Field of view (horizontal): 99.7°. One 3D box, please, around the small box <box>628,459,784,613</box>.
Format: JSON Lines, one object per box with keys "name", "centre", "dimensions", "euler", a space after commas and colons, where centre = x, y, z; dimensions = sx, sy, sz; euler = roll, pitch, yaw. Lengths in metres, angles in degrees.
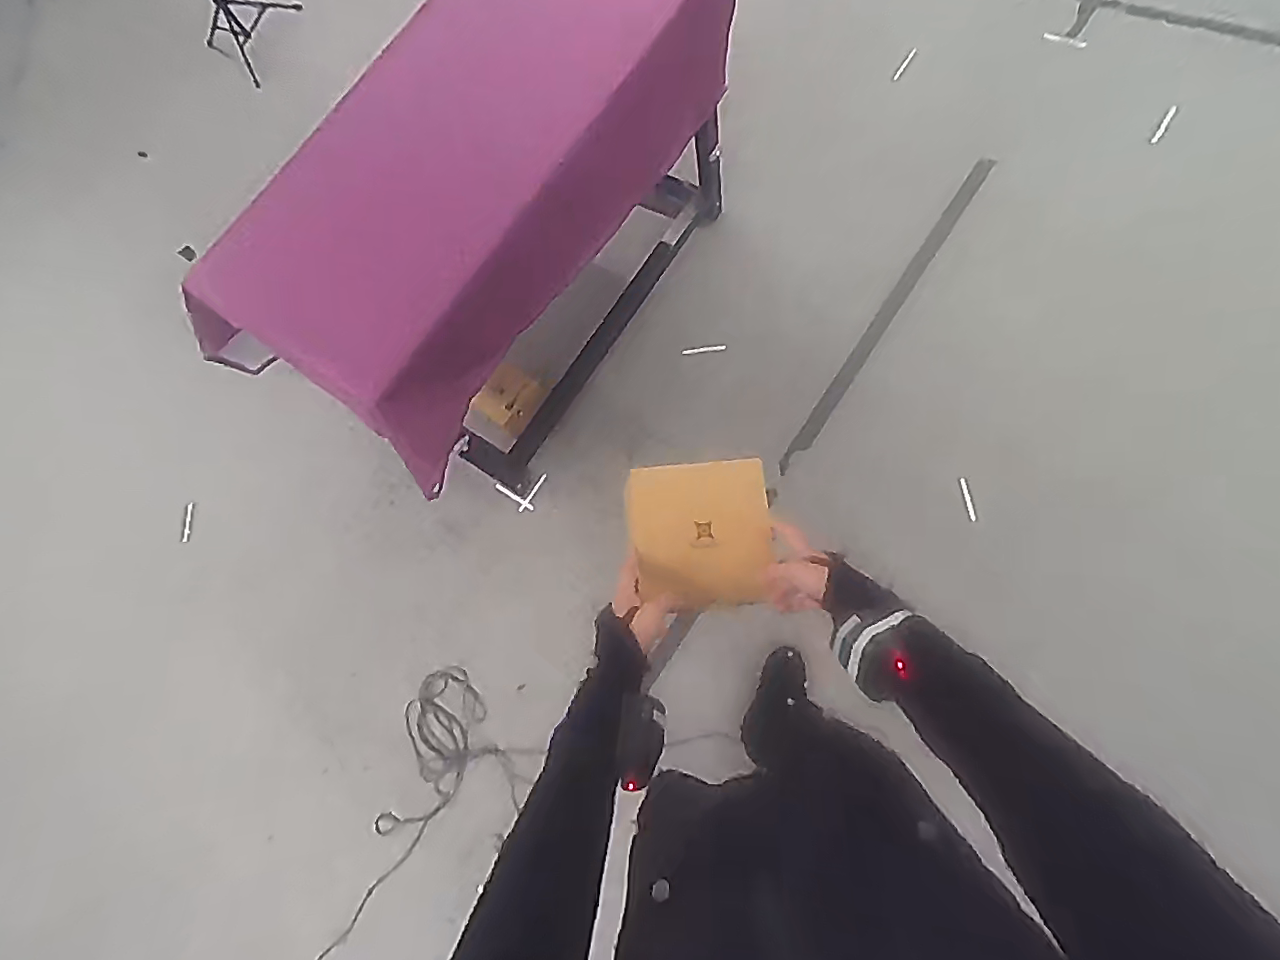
{"name": "small box", "centre": [0.076, 0.078, 0.720], "dimensions": [0.168, 0.176, 0.179], "euler": [-5, 81, -5]}
